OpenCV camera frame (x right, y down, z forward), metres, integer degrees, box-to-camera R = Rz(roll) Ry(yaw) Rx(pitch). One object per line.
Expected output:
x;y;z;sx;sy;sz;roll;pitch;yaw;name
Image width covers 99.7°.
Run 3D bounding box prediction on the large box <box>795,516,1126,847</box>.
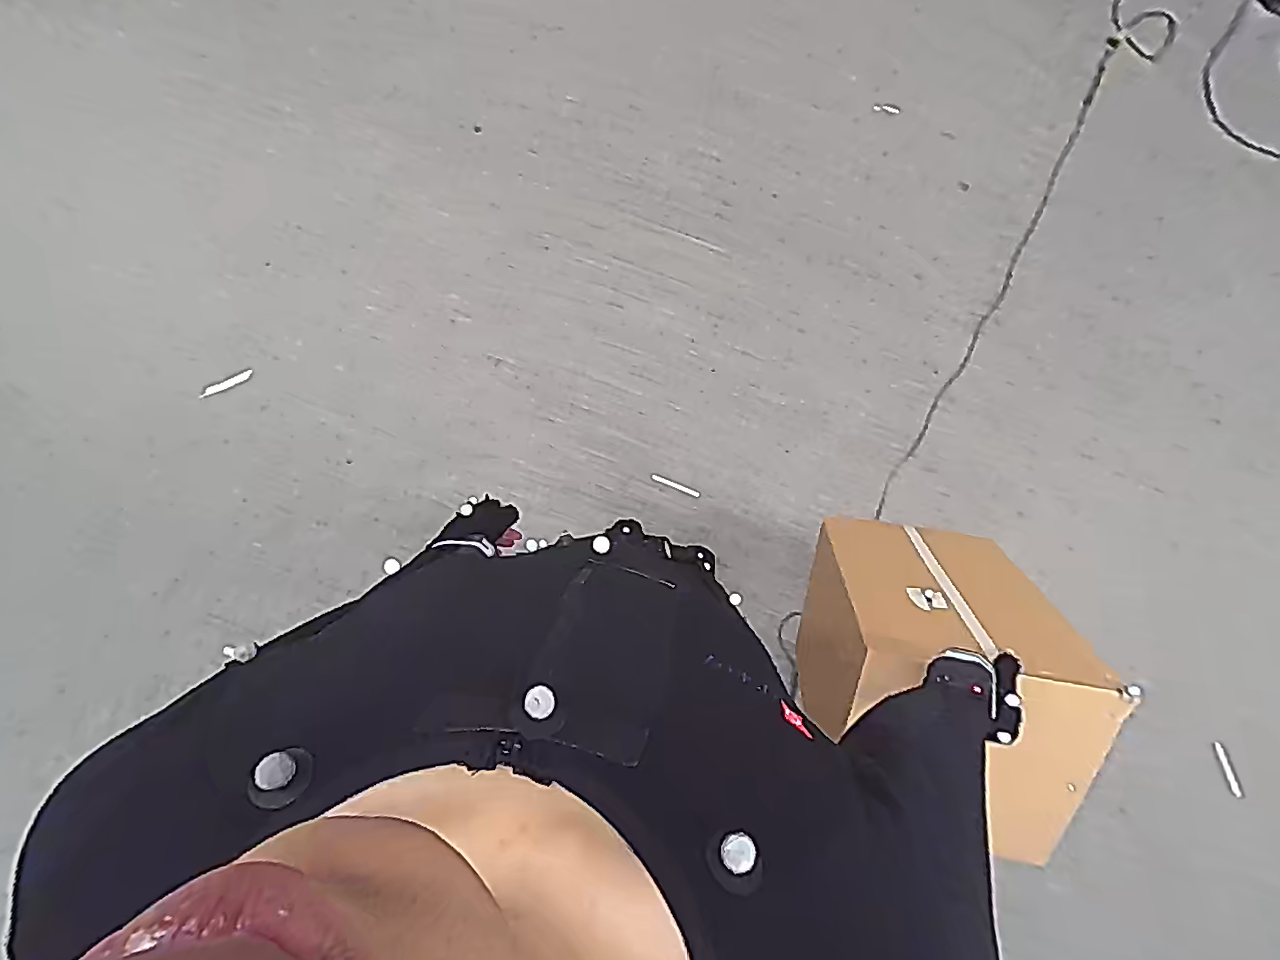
0.465;0.302;0.917;0.320;0.408;0.320;7;113;7;large box
